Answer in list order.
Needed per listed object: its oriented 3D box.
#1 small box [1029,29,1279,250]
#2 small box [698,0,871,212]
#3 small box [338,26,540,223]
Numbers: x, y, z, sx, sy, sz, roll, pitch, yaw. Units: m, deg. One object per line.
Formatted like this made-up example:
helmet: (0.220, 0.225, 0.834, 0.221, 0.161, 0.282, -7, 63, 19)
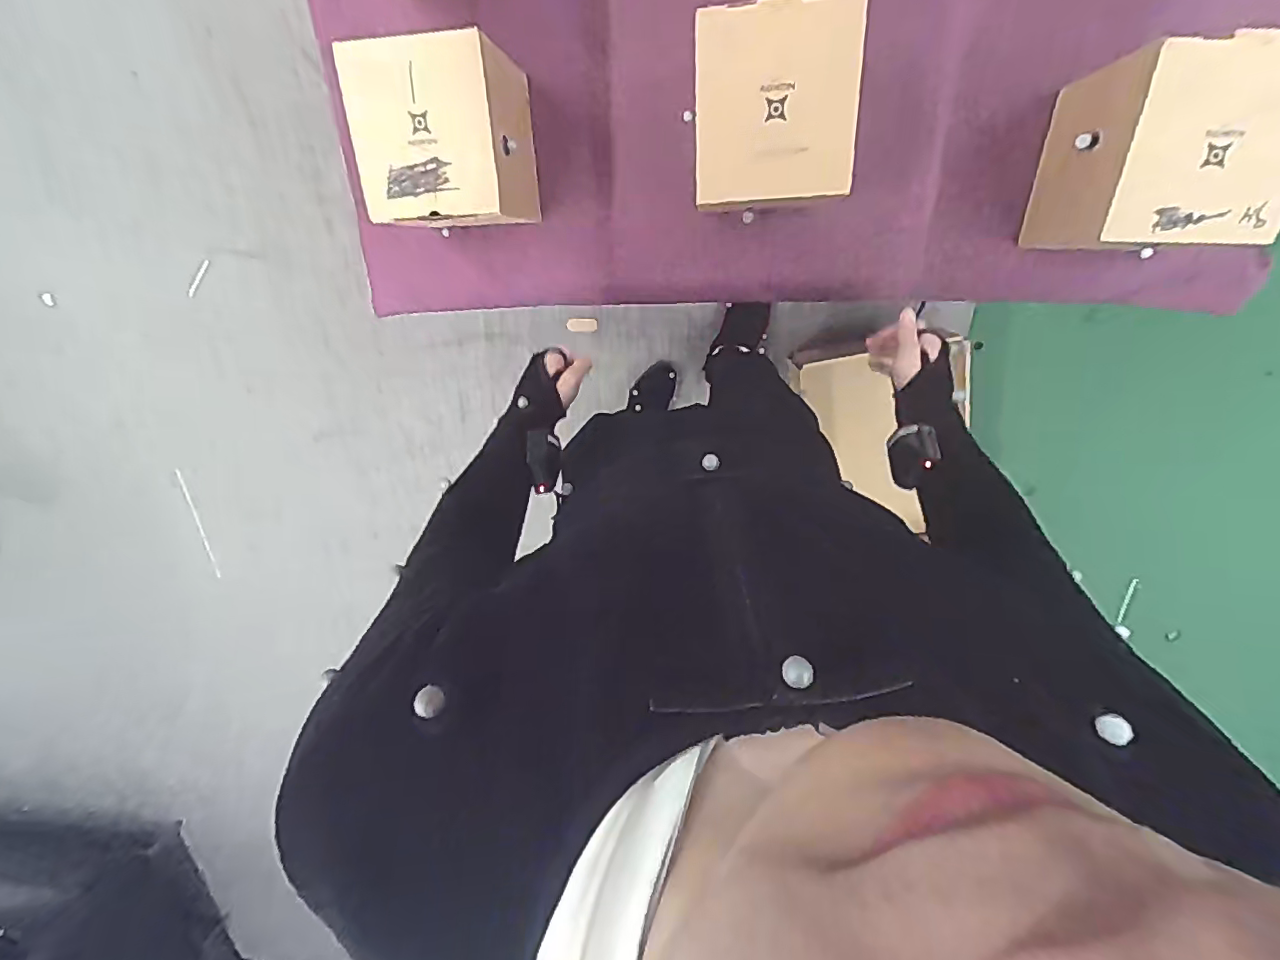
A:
small box: (0.573, -0.355, 0.594, 0.168, 0.176, 0.179, 5, 111, 7)
small box: (0.151, -0.418, 0.625, 0.168, 0.176, 0.179, 1, 113, 8)
small box: (-0.230, -0.419, 0.671, 0.168, 0.176, 0.179, 0, 111, 7)
